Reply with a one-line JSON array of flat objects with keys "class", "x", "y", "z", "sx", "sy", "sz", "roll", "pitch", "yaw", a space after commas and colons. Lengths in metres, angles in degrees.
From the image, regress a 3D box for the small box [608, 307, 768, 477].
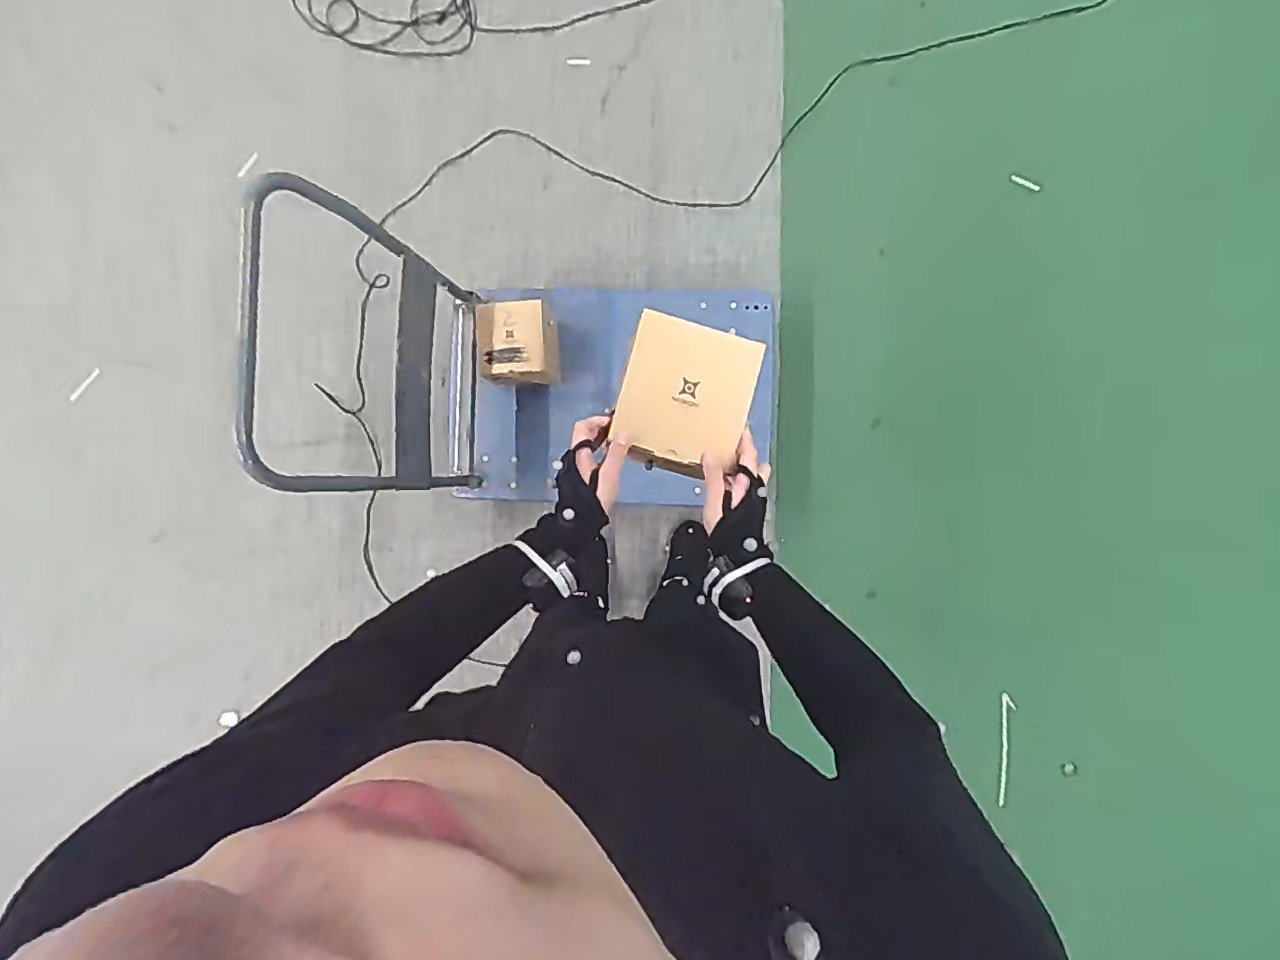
[{"class": "small box", "x": 0.055, "y": -0.109, "z": 0.752, "sx": 0.168, "sy": 0.176, "sz": 0.179, "roll": 15, "pitch": 88, "yaw": -5}]
